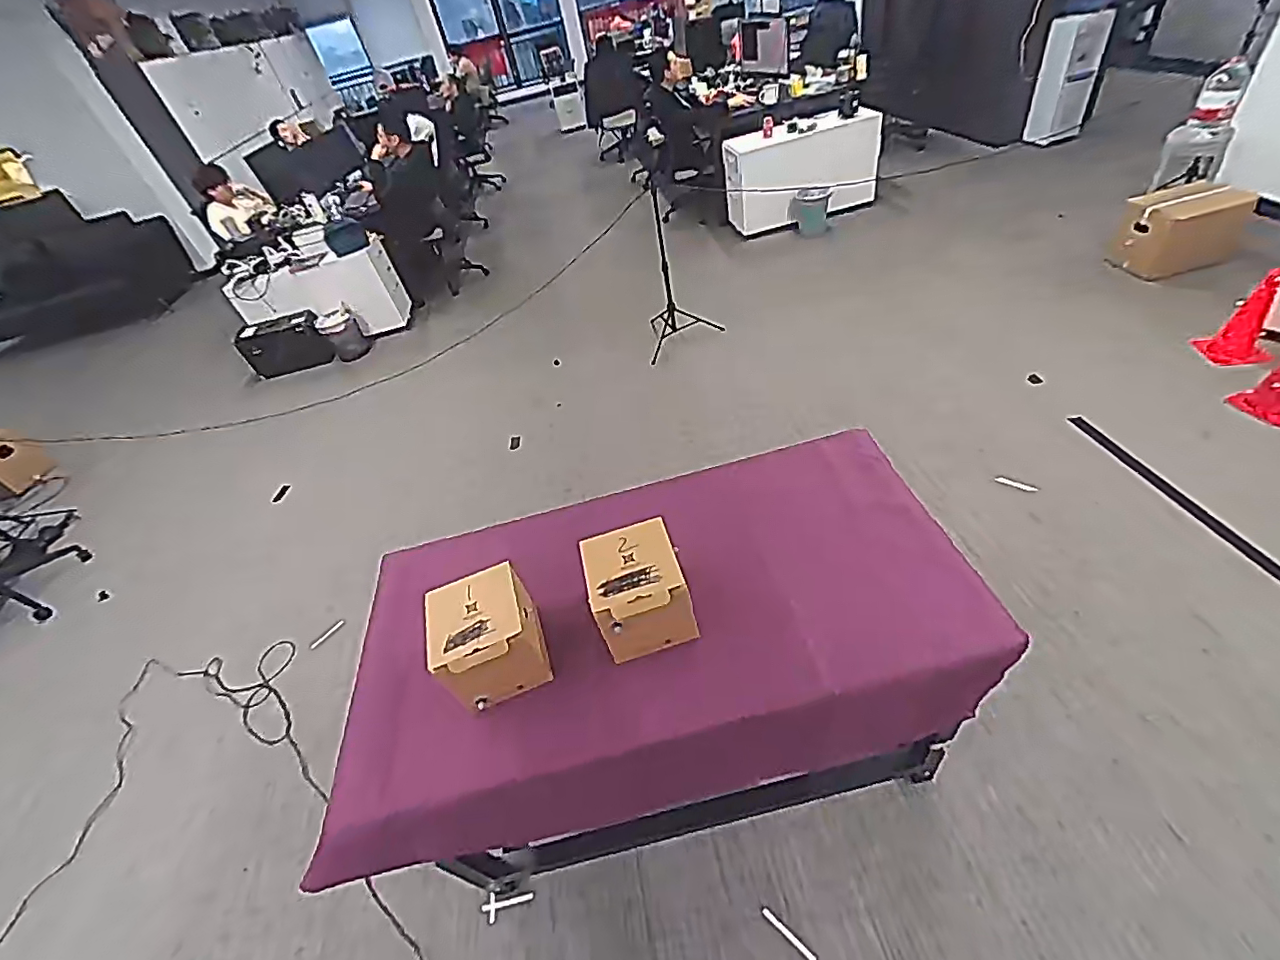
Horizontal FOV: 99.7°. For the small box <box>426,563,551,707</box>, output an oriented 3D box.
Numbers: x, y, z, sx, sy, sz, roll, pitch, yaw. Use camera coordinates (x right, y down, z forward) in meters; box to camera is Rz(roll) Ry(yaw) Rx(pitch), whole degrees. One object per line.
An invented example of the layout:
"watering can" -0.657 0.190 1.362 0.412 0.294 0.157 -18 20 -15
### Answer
"small box" -0.277 0.294 1.001 0.168 0.176 0.179 -21 42 -7
